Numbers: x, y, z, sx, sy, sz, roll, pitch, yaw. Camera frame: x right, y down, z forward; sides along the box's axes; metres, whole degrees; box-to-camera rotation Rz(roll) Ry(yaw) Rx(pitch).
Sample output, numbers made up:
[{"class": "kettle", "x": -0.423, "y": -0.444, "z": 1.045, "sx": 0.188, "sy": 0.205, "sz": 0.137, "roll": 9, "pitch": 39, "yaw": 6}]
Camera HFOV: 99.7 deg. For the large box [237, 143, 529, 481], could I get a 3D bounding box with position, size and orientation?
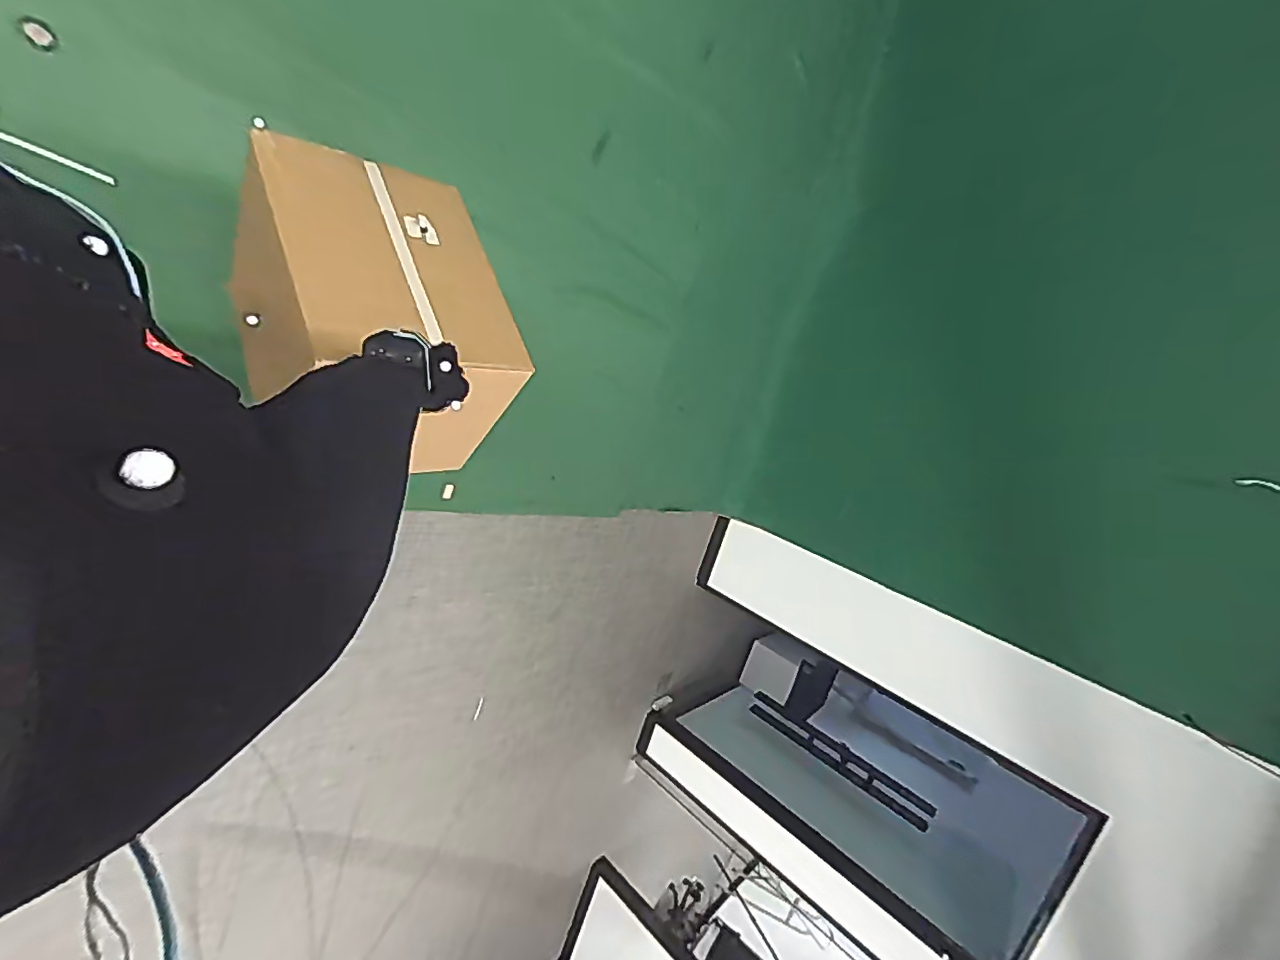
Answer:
[{"class": "large box", "x": -0.451, "y": -0.254, "z": 0.918, "sx": 0.320, "sy": 0.408, "sz": 0.320, "roll": -7, "pitch": 155, "yaw": -45}]
